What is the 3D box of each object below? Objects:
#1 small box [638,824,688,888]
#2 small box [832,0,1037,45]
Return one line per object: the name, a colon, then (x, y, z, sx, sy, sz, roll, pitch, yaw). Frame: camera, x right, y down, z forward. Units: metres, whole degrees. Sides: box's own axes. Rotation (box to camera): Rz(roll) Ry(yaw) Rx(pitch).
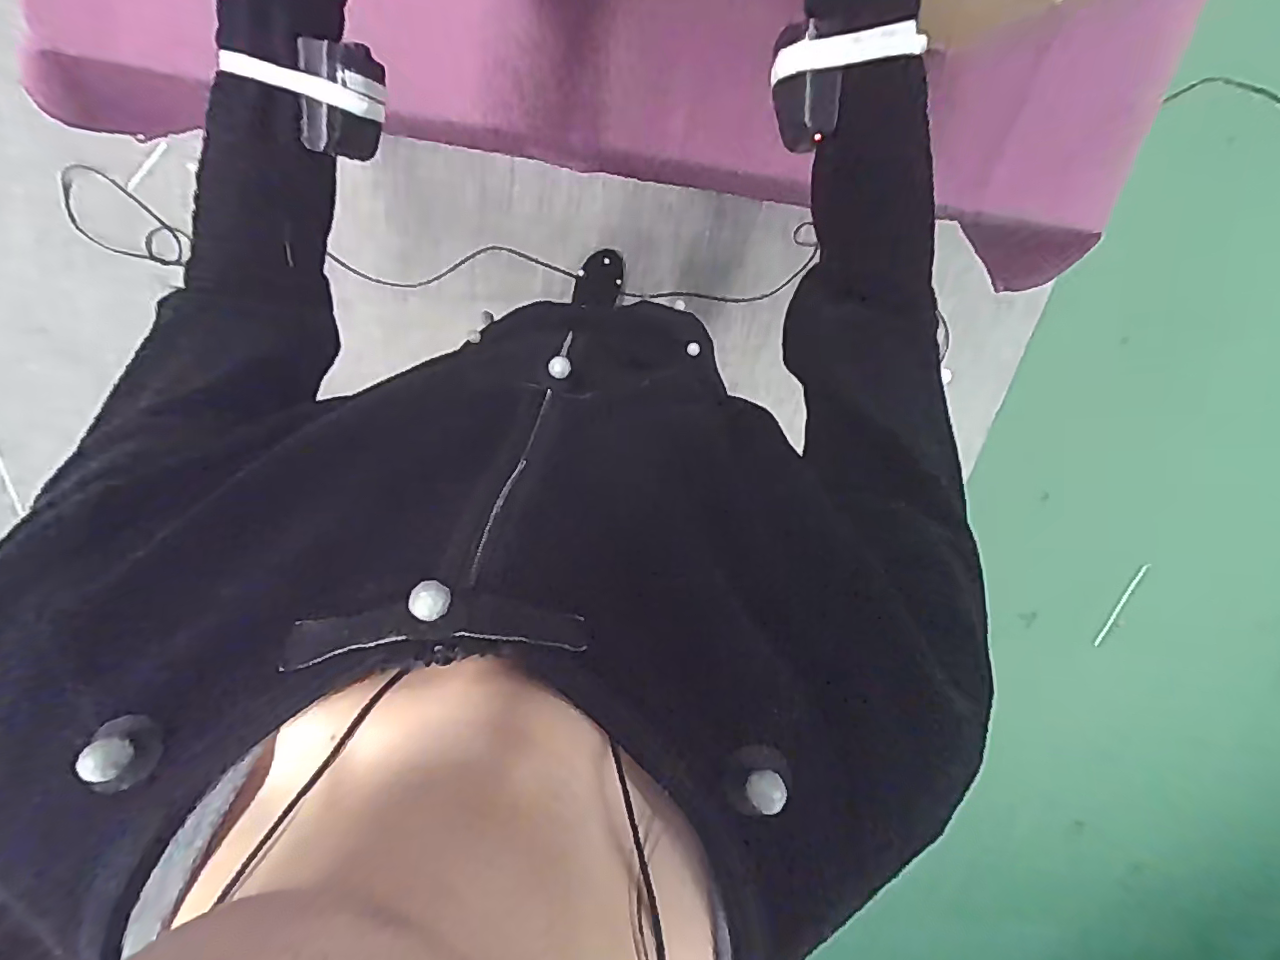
small box: (0.090, 1.568, 2.261, 0.179, 0.176, 0.168, 4, 115, -7)
small box: (0.286, -0.525, 0.477, 0.168, 0.176, 0.179, 8, 114, -8)
